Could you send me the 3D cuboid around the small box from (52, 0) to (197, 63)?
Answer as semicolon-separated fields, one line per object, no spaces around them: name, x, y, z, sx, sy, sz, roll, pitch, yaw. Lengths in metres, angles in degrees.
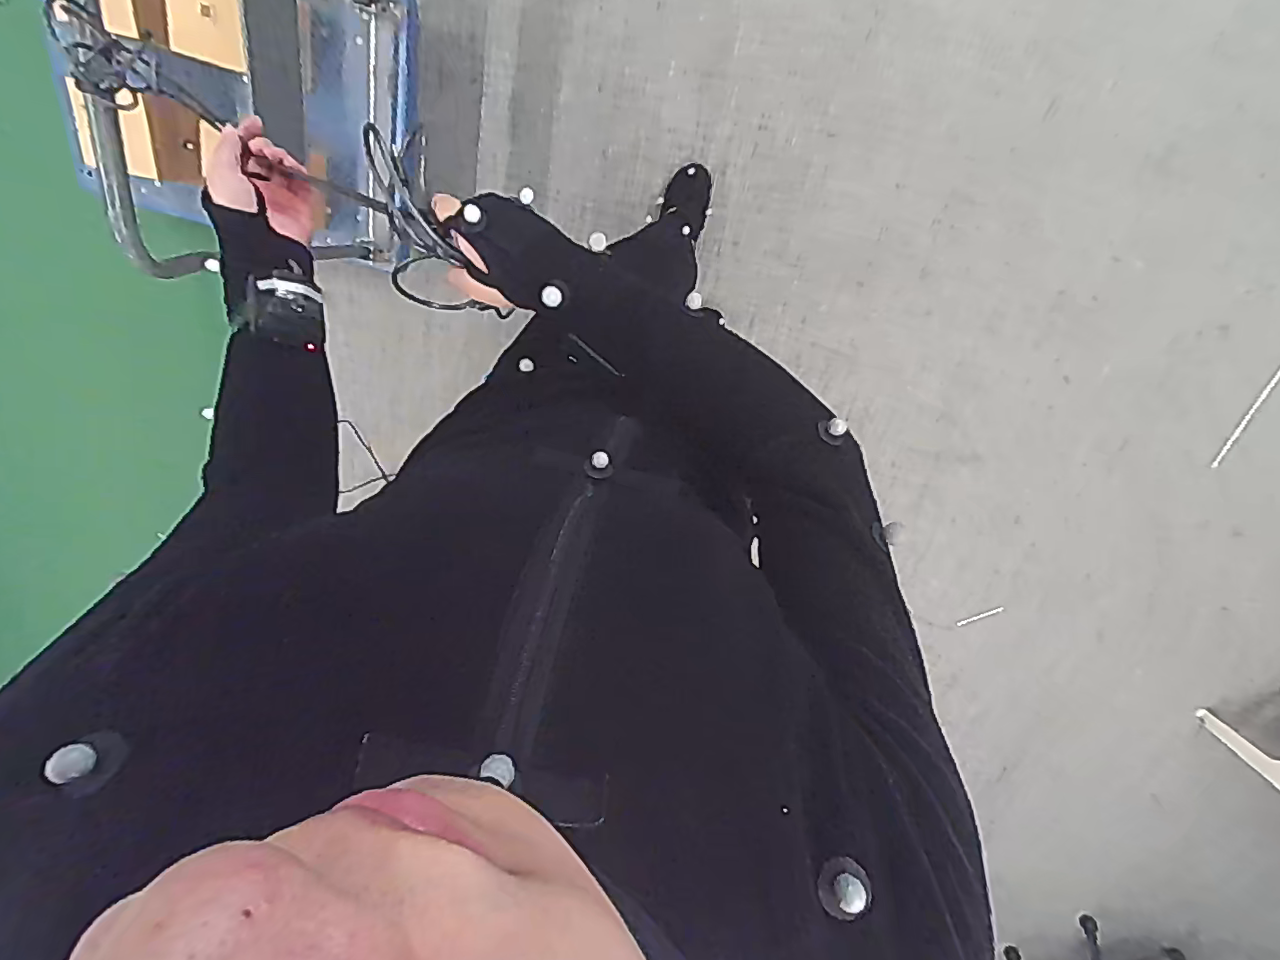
small box;-1.051;-0.990;1.111;0.179;0.176;0.168;14;117;1

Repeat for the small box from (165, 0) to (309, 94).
small box;-0.817;-0.920;1.107;0.179;0.176;0.168;17;116;0

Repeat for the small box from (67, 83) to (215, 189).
small box;-1.109;-0.768;1.224;0.179;0.176;0.168;12;115;3
